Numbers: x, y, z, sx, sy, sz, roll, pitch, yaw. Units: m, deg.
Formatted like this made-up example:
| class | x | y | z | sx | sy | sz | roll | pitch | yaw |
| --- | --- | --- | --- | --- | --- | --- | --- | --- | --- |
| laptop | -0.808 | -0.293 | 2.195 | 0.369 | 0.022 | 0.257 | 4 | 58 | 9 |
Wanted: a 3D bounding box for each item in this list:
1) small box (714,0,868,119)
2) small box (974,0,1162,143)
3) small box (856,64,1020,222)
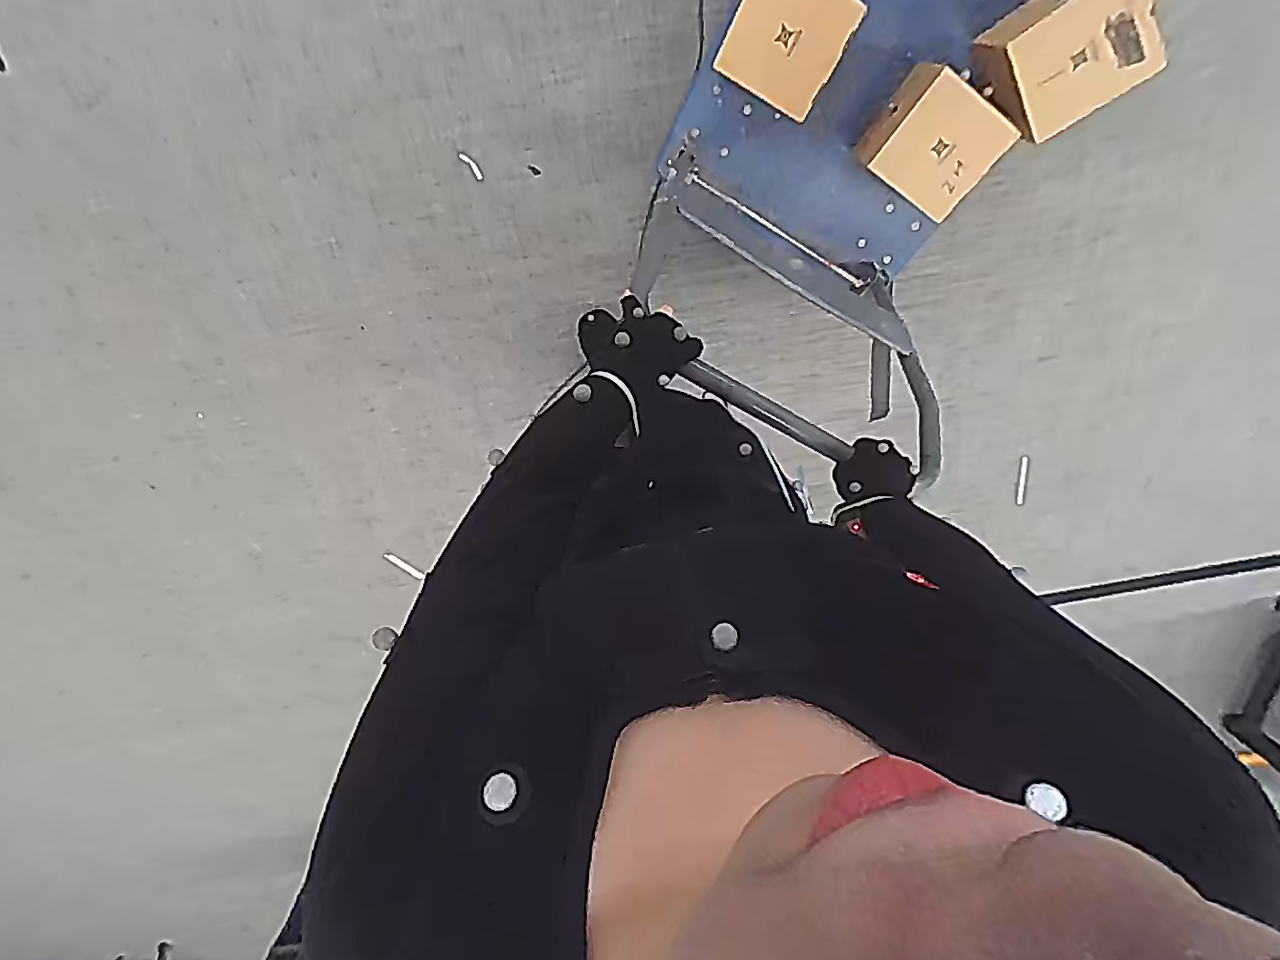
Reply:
| class | x | y | z | sx | sy | sz | roll | pitch | yaw |
| --- | --- | --- | --- | --- | --- | --- | --- | --- | --- |
| small box | 0.238 | -0.738 | 0.898 | 0.179 | 0.176 | 0.168 | 24 | 129 | -12 |
| small box | 0.674 | -0.685 | 0.864 | 0.179 | 0.176 | 0.168 | -24 | 123 | 25 |
| small box | 0.515 | -0.600 | 0.965 | 0.179 | 0.176 | 0.168 | 29 | 128 | -14 |
